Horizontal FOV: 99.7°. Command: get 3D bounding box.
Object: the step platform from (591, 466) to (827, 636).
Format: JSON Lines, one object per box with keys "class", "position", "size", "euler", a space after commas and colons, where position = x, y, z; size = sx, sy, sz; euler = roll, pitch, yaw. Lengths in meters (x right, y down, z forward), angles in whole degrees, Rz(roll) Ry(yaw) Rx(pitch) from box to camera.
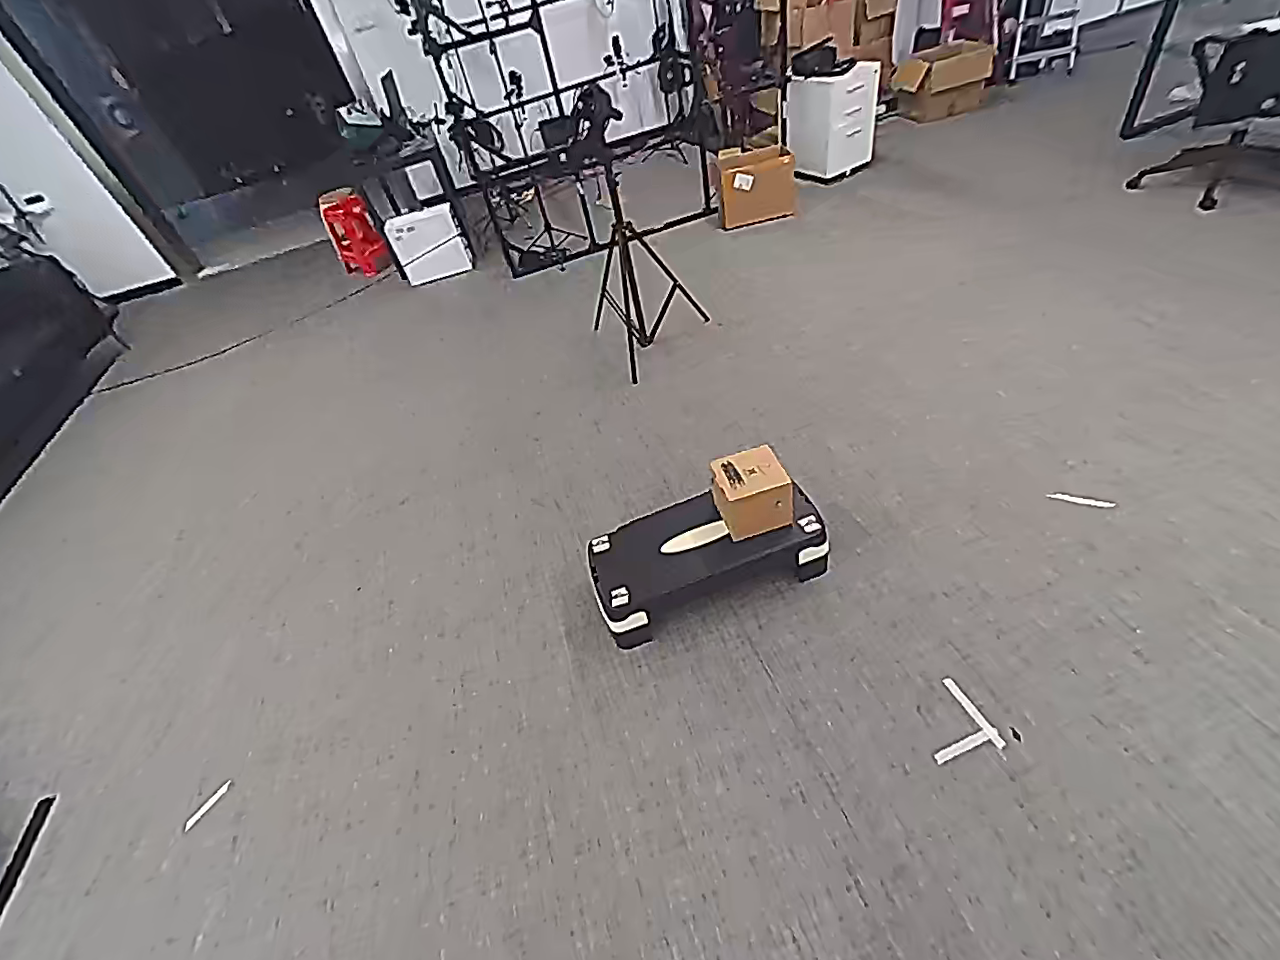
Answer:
{"class": "step platform", "position": [0.199, 0.202, 1.621], "size": [0.684, 0.204, 0.286], "euler": [-21, 43, -5]}
